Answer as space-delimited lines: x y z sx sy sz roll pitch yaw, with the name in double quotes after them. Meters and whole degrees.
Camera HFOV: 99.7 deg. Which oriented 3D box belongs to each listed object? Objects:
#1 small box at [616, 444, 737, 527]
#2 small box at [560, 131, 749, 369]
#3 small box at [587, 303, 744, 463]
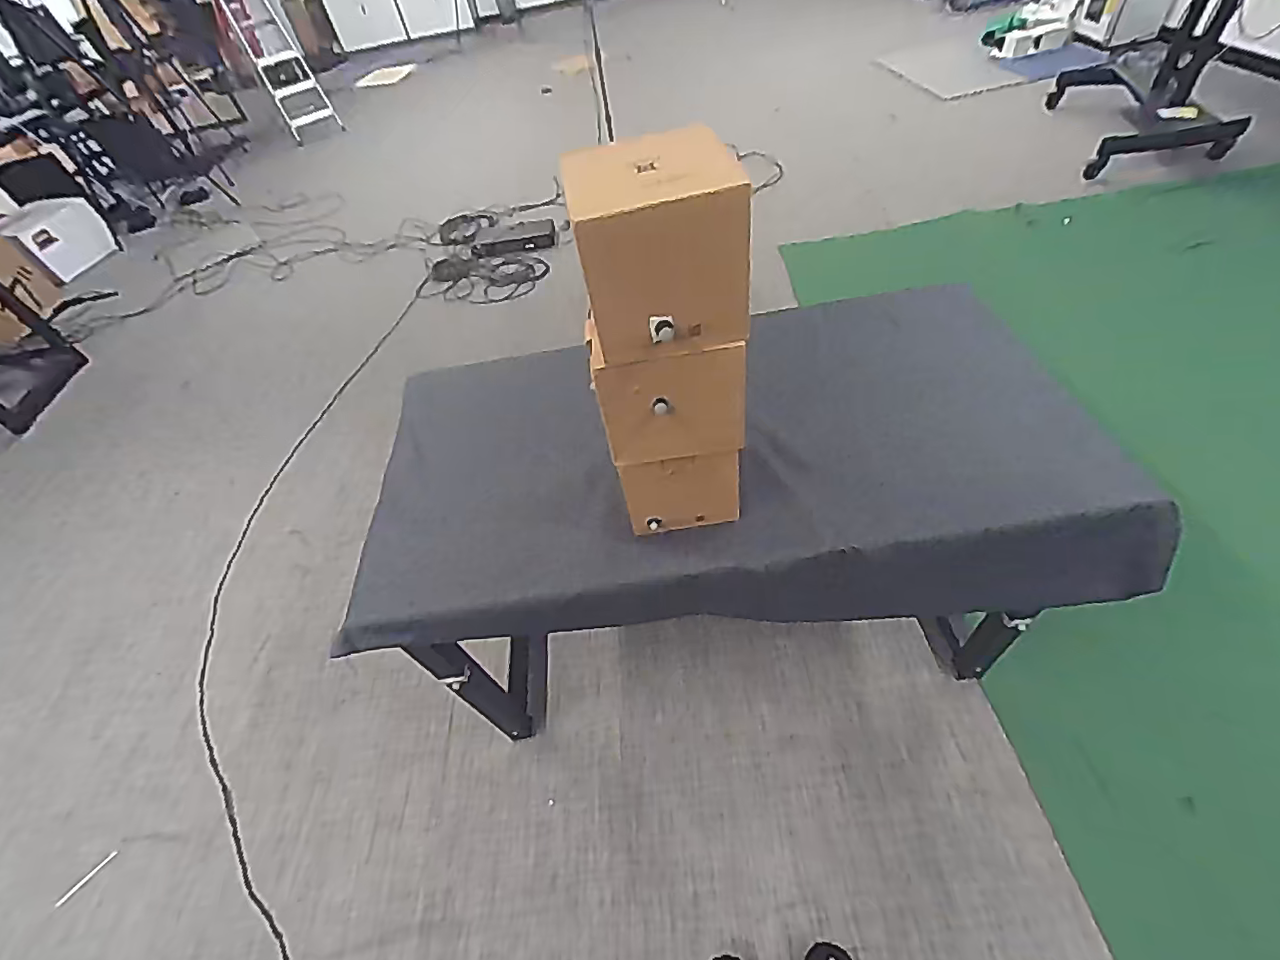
0.055 -0.041 0.845 0.168 0.176 0.179 -9 48 3 "small box"
0.016 -0.252 0.599 0.168 0.176 0.179 -14 50 0 "small box"
0.035 -0.141 0.721 0.179 0.176 0.168 -11 47 1 "small box"
